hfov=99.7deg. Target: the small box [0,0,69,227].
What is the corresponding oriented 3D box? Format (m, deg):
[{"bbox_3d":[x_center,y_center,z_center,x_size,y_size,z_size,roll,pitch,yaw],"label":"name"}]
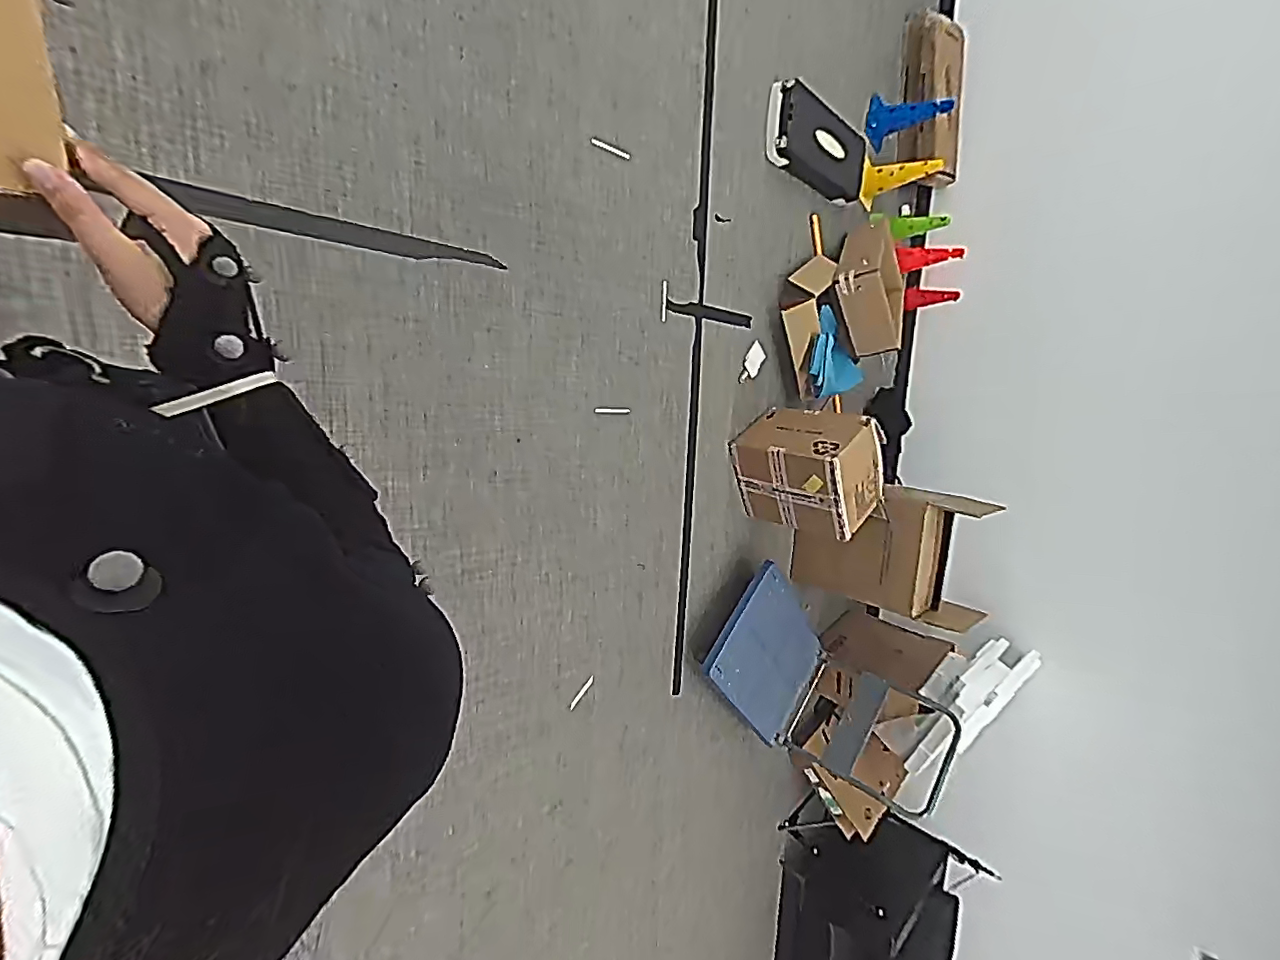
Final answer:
[{"bbox_3d":[-0.442,-0.257,0.293,0.168,0.176,0.179,-9,106,-44],"label":"small box"}]
